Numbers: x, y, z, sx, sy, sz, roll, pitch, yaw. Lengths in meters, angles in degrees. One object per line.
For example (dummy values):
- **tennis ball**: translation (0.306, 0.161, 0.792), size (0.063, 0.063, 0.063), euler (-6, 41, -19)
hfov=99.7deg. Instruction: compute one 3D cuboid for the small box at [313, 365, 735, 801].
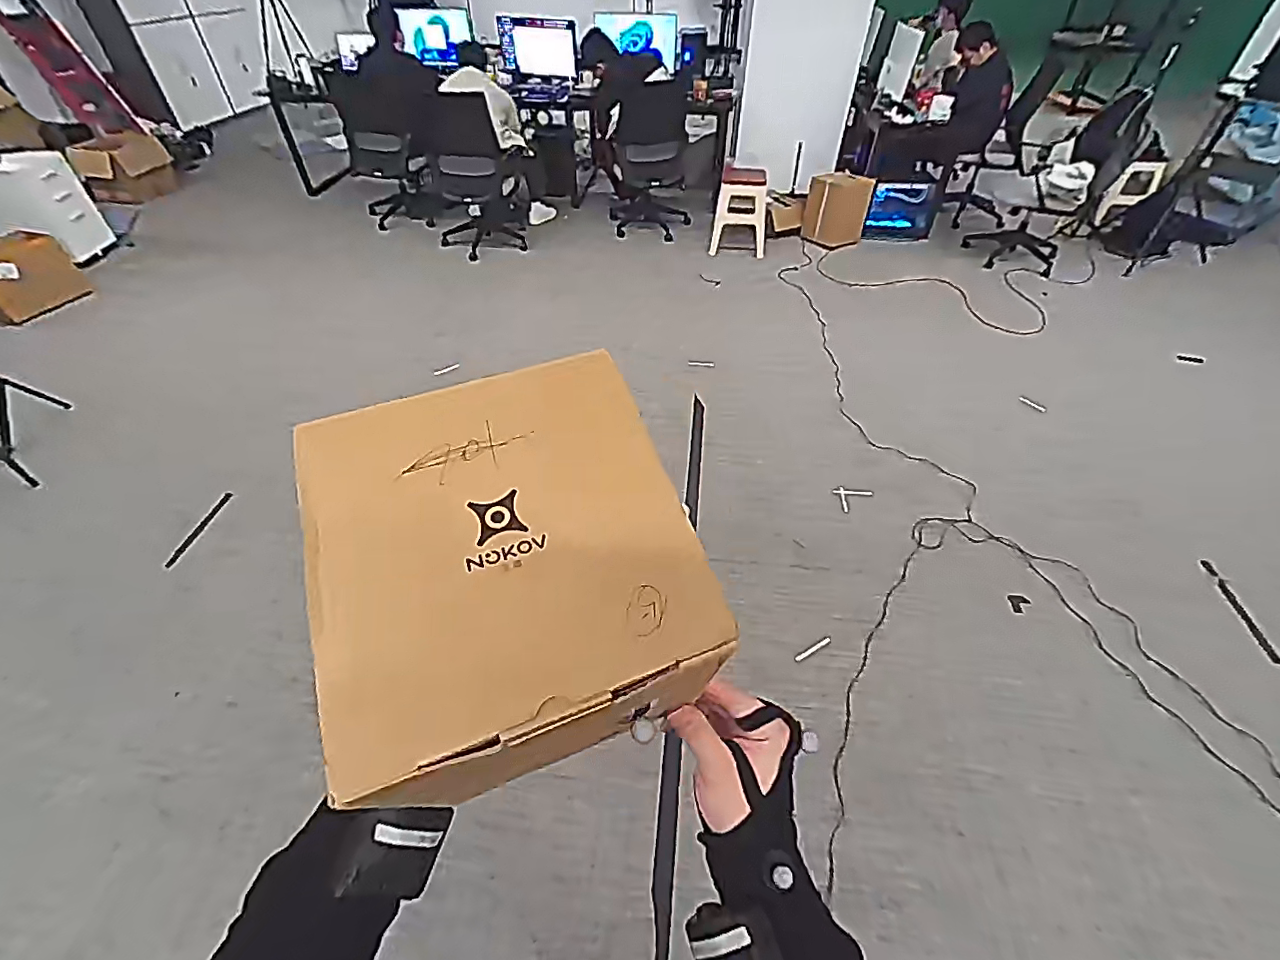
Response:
- **small box**: translation (-0.066, 0.066, 0.326), size (0.168, 0.176, 0.179), euler (-18, 61, -14)
